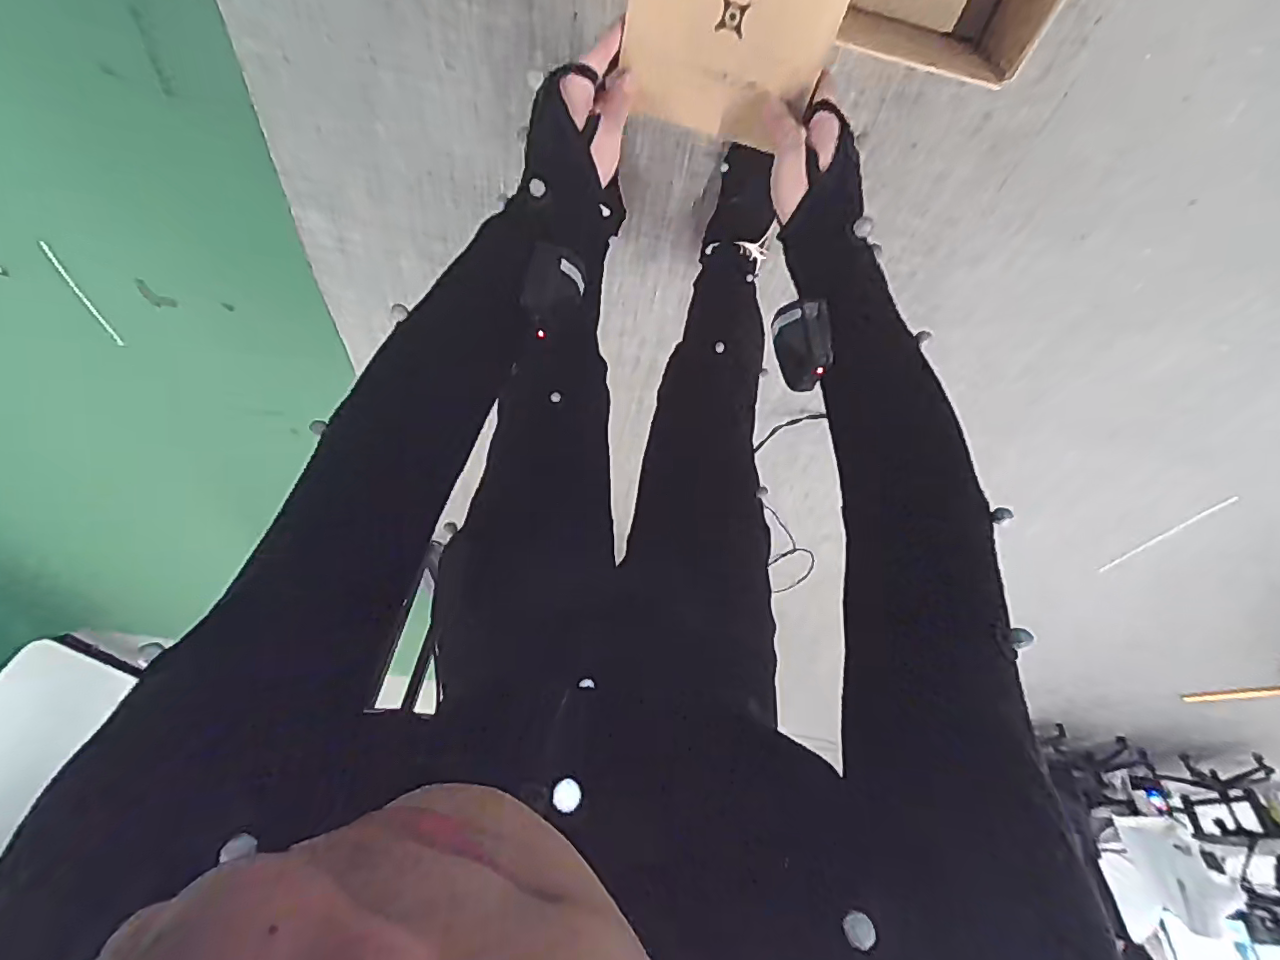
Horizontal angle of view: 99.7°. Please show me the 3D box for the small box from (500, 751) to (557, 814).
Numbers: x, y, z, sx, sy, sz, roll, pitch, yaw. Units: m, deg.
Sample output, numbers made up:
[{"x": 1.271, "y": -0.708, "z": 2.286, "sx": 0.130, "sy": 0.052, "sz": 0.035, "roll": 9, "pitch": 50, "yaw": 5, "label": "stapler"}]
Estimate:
[{"x": -0.392, "y": 1.068, "z": 1.908, "sx": 0.168, "sy": 0.176, "sz": 0.179, "roll": 10, "pitch": 146, "yaw": -5, "label": "small box"}]

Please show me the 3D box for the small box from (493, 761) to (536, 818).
[{"x": -0.479, "y": 1.237, "z": 2.159, "sx": 0.168, "sy": 0.176, "sz": 0.179, "roll": 10, "pitch": 143, "yaw": -4, "label": "small box"}]
